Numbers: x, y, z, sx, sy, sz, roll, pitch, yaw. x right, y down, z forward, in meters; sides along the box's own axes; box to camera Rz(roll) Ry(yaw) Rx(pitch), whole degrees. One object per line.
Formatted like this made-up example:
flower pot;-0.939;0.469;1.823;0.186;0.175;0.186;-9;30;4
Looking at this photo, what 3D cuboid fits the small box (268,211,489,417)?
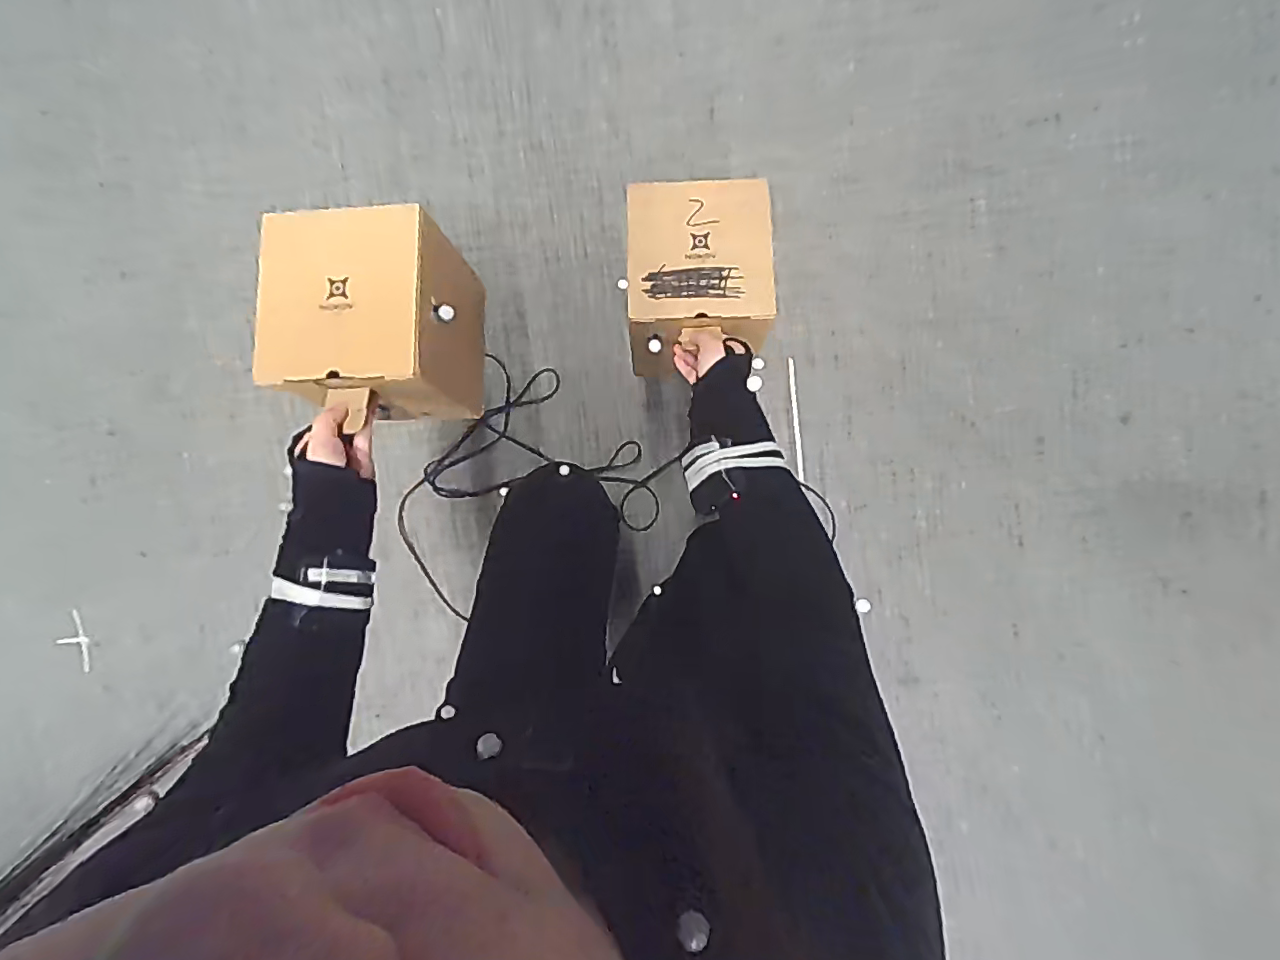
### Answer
small box;-0.282;-0.176;0.620;0.168;0.176;0.179;-1;85;6
